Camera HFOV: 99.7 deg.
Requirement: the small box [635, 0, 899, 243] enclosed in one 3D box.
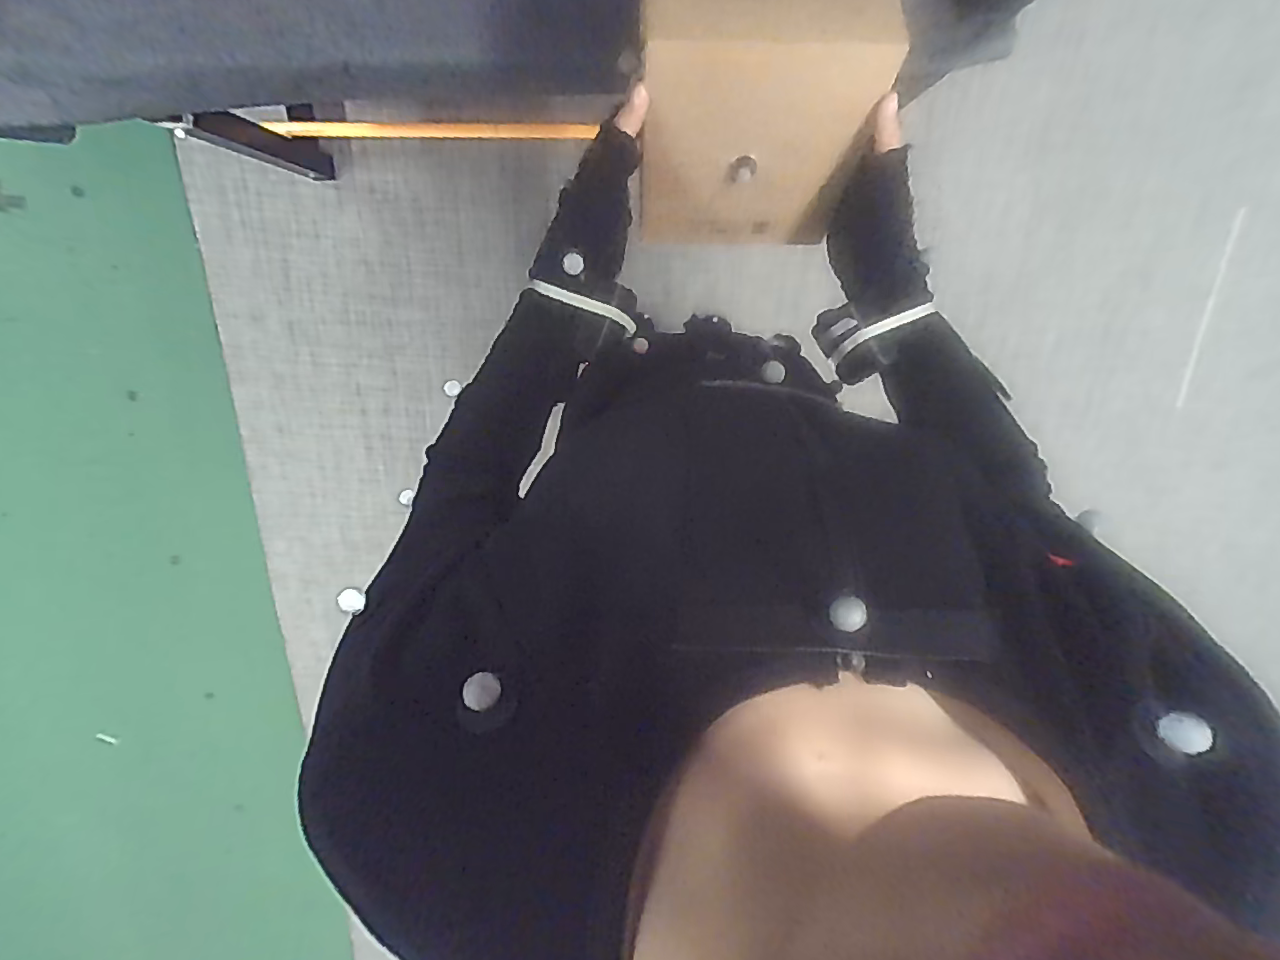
[{"bbox_3d":[0.081,-0.318,0.441,0.168,0.176,0.179,0,68,-2],"label":"small box"}]
